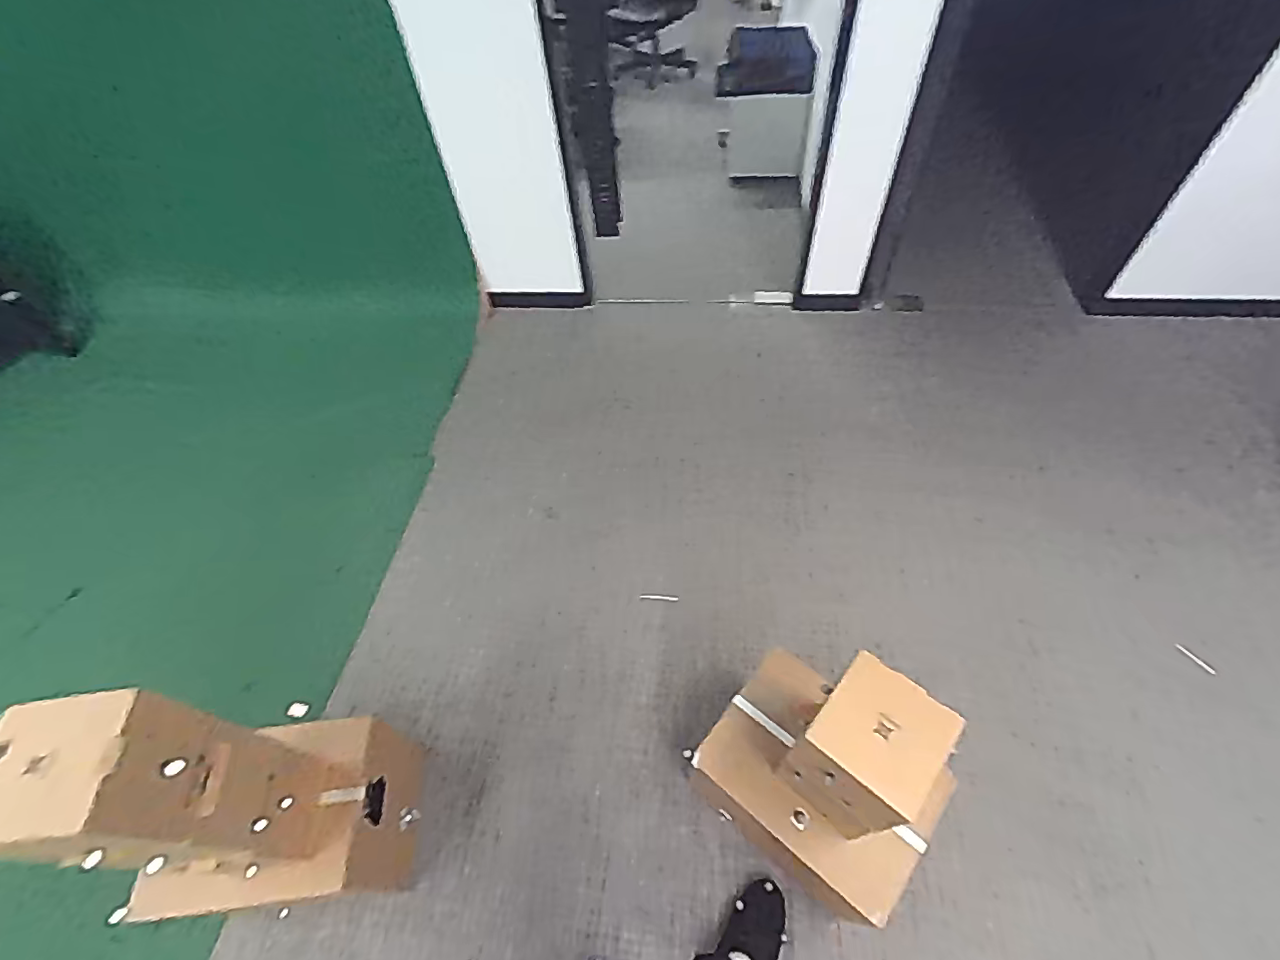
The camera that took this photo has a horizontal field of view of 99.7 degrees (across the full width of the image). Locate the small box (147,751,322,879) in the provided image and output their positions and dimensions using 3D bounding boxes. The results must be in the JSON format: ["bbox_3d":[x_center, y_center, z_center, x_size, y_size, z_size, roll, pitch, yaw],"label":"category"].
[{"bbox_3d":[-0.711,0.606,0.977,0.168,0.176,0.179,-7,52,-1],"label":"small box"}]

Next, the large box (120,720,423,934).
[{"bbox_3d":[-0.739,0.752,1.175,0.408,0.320,0.320,-8,50,0],"label":"large box"}]

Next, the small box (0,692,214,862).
[{"bbox_3d":[-0.731,0.399,0.723,0.179,0.176,0.168,-6,52,-2],"label":"small box"}]

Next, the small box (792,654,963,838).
[{"bbox_3d":[0.354,0.414,0.836,0.168,0.176,0.179,34,59,27],"label":"small box"}]

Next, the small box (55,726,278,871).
[{"bbox_3d":[-0.718,0.502,0.850,0.179,0.176,0.168,-8,52,-2],"label":"small box"}]
